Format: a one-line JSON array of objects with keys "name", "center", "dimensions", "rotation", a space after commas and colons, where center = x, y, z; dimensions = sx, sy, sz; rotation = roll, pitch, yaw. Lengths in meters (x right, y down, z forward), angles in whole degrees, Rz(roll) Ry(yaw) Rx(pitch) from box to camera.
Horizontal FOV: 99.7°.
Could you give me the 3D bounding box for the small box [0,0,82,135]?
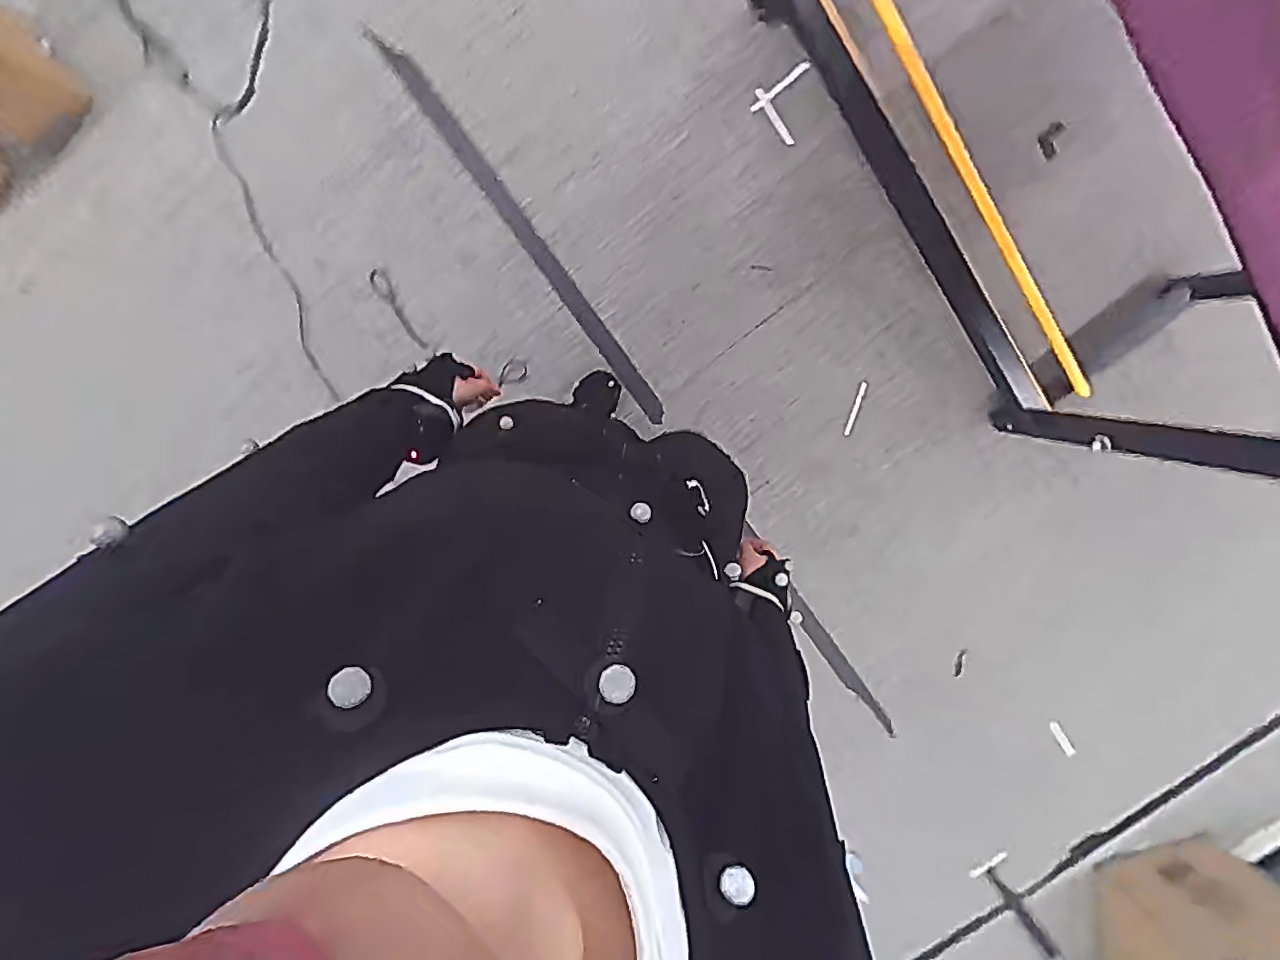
[{"name": "small box", "center": [-1.217, -0.781, 0.993], "dimensions": [0.179, 0.176, 0.168], "rotation": [-31, 104, 3]}]
